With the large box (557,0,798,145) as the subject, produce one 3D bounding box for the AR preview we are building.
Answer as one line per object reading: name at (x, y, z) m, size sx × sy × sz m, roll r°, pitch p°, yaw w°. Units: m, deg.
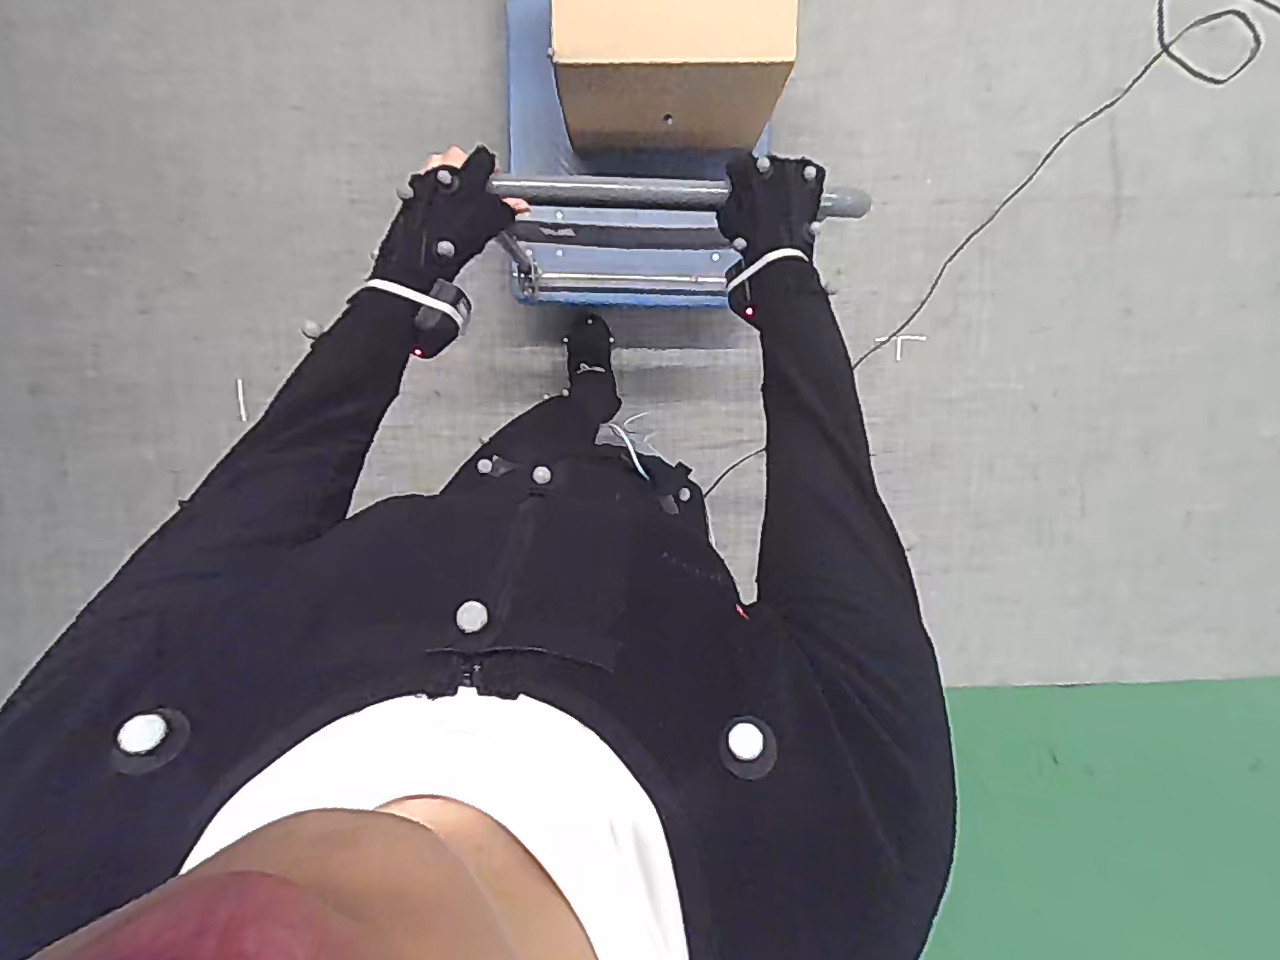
large box at (0.061, -0.872, 1.026) m, size 0.408 × 0.320 × 0.320 m, roll -2°, pitch 98°, yaw 1°
